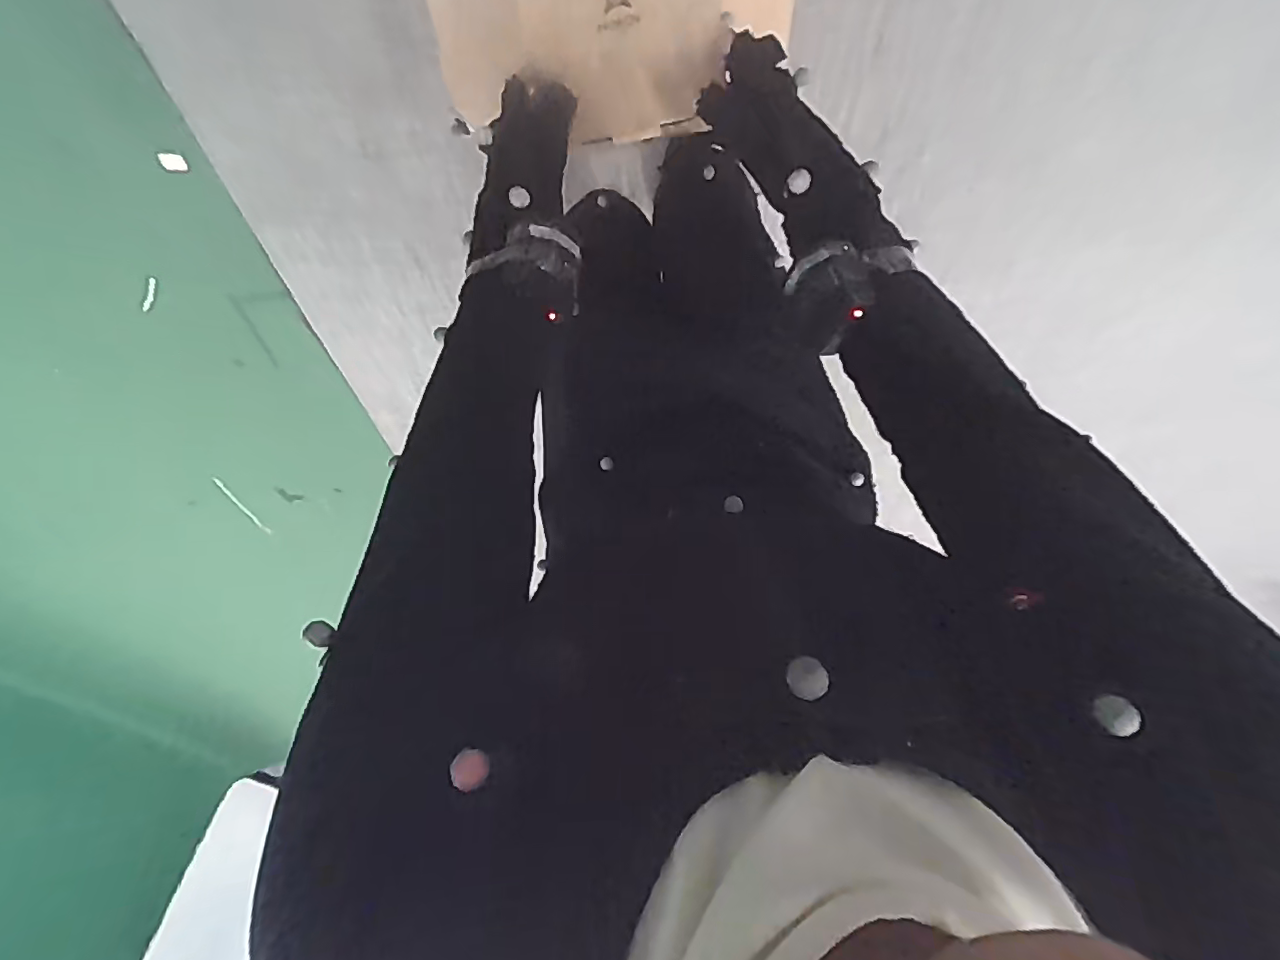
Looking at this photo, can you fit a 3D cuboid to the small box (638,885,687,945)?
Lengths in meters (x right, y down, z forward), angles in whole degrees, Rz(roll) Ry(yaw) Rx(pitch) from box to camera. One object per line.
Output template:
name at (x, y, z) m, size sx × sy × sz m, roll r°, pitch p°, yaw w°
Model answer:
small box at (0.091, 1.684, 2.094) m, size 0.179 × 0.176 × 0.168 m, roll -2°, pitch 138°, yaw 6°

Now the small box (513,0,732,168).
small box at (-0.005, -0.411, 0.508) m, size 0.168 × 0.176 × 0.179 m, roll -6°, pitch 118°, yaw 14°
